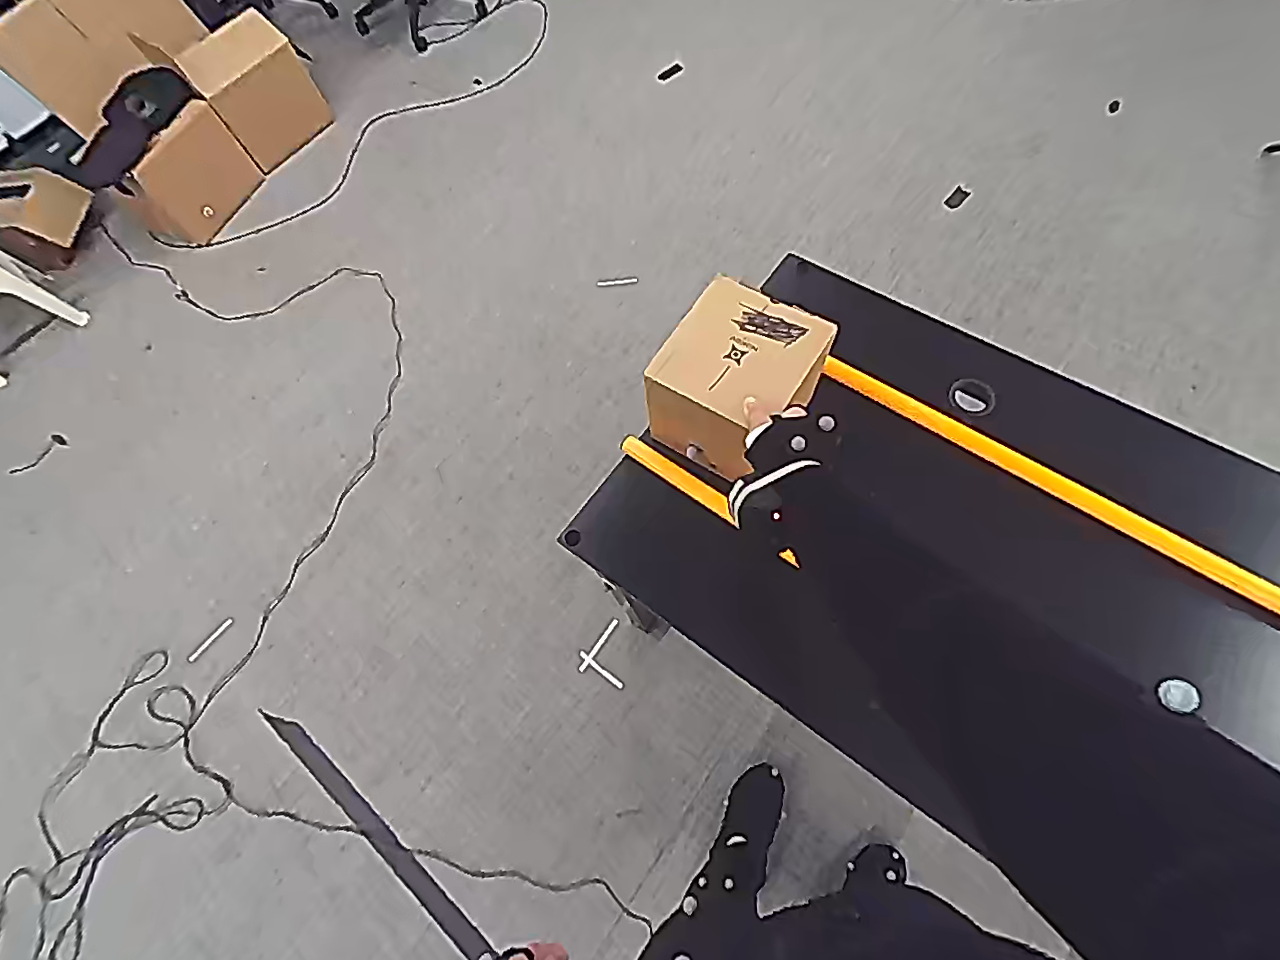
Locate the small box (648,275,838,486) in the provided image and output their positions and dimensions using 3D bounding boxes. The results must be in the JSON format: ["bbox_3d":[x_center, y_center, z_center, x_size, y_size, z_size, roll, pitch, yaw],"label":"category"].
[{"bbox_3d":[0.128,-0.122,0.710,0.168,0.176,0.179,31,74,17],"label":"small box"}]
